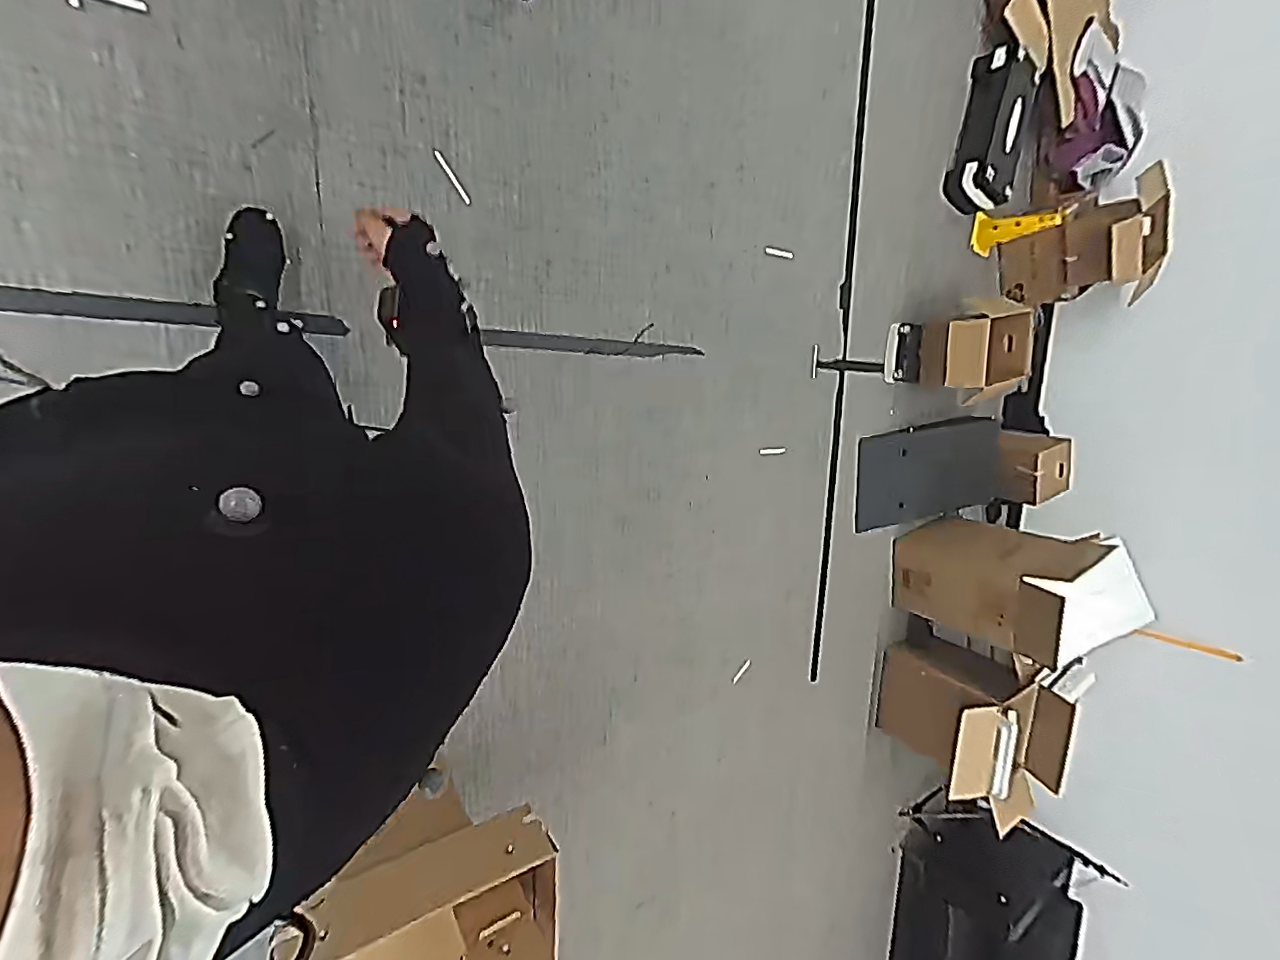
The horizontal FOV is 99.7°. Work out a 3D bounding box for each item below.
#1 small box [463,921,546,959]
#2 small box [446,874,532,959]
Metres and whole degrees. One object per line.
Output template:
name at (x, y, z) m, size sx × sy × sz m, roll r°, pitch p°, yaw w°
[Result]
small box at (-0.292, 1.161, 1.213) m, size 0.168 × 0.176 × 0.179 m, roll -8°, pitch 104°, yaw -34°
small box at (-0.378, 1.136, 1.351) m, size 0.168 × 0.176 × 0.179 m, roll -7°, pitch 105°, yaw -34°
